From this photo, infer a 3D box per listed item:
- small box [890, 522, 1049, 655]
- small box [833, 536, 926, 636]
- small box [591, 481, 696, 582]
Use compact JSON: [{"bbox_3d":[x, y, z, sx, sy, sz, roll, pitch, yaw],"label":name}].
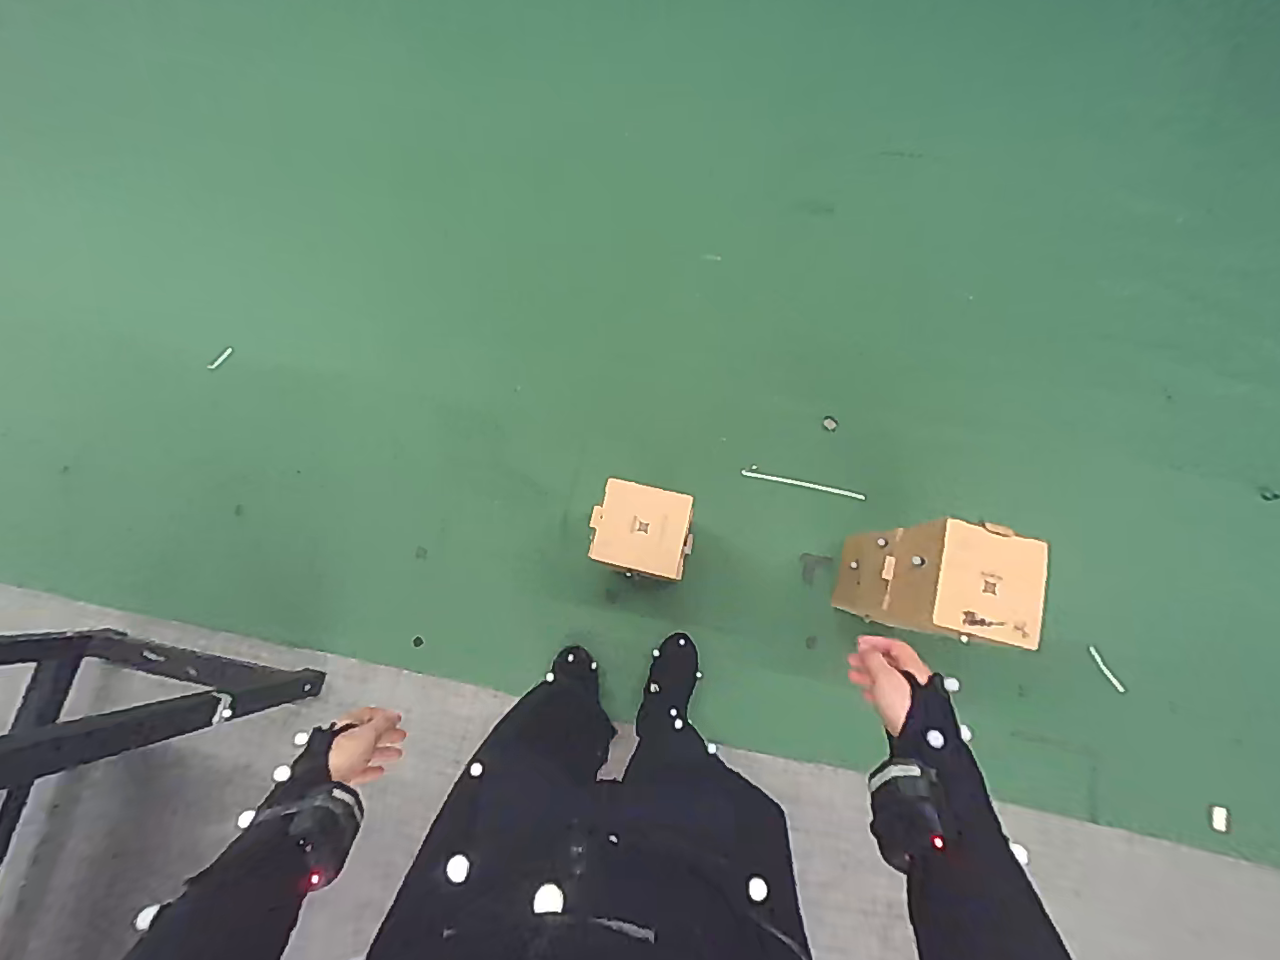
[{"bbox_3d":[0.556,0.186,0.932,0.168,0.176,0.179,15,78,2],"label":"small box"},{"bbox_3d":[0.568,0.247,1.256,0.168,0.176,0.179,19,79,4],"label":"small box"},{"bbox_3d":[0.009,0.114,1.121,0.179,0.176,0.168,13,79,3],"label":"small box"}]
